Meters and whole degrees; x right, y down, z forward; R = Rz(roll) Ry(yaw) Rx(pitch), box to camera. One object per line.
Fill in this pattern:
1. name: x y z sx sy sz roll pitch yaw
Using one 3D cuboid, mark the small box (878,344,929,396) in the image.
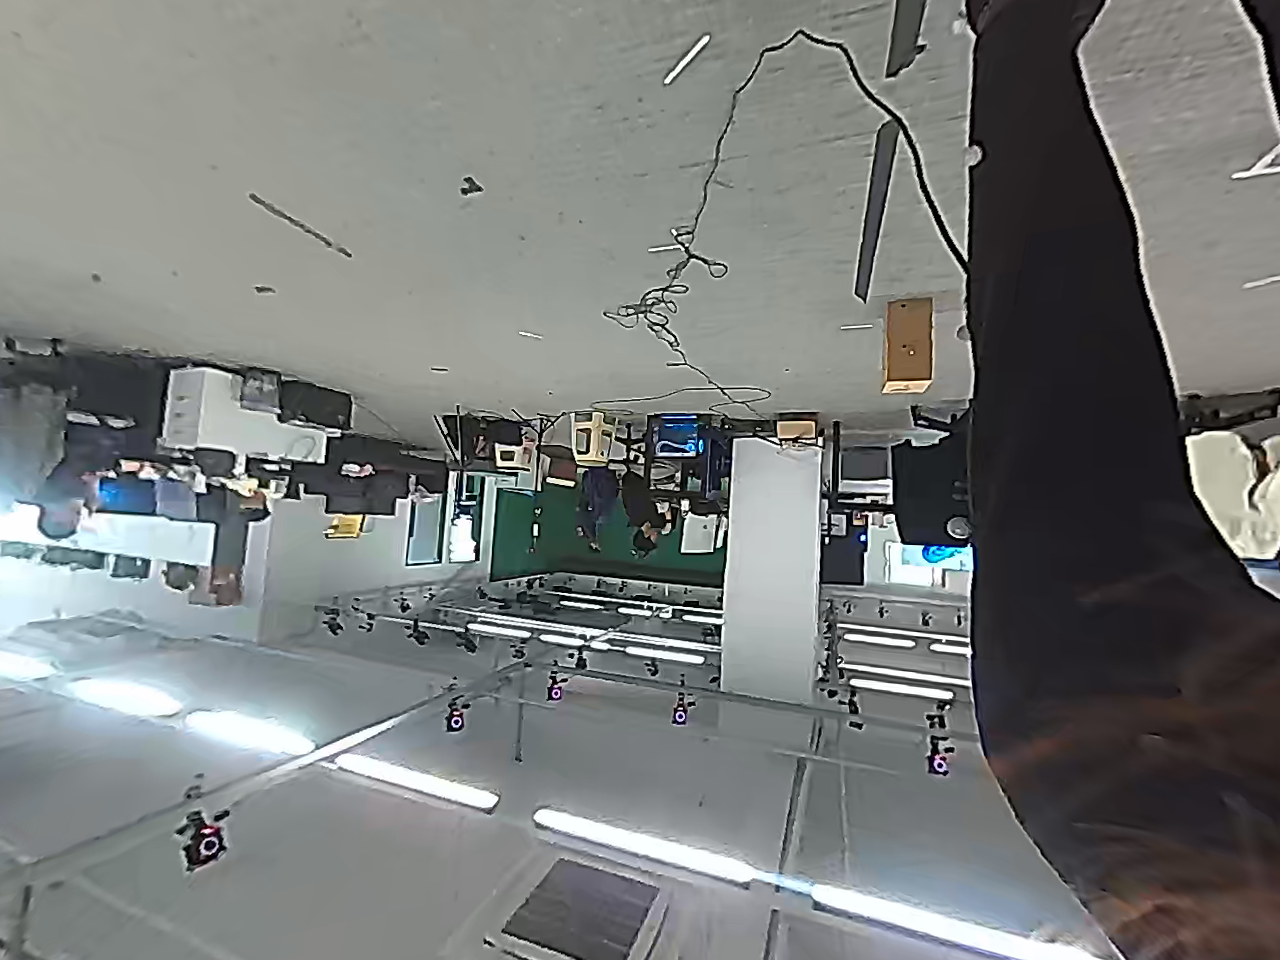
1. small box: 1.079 -0.449 2.214 0.168 0.176 0.179 2 174 17
